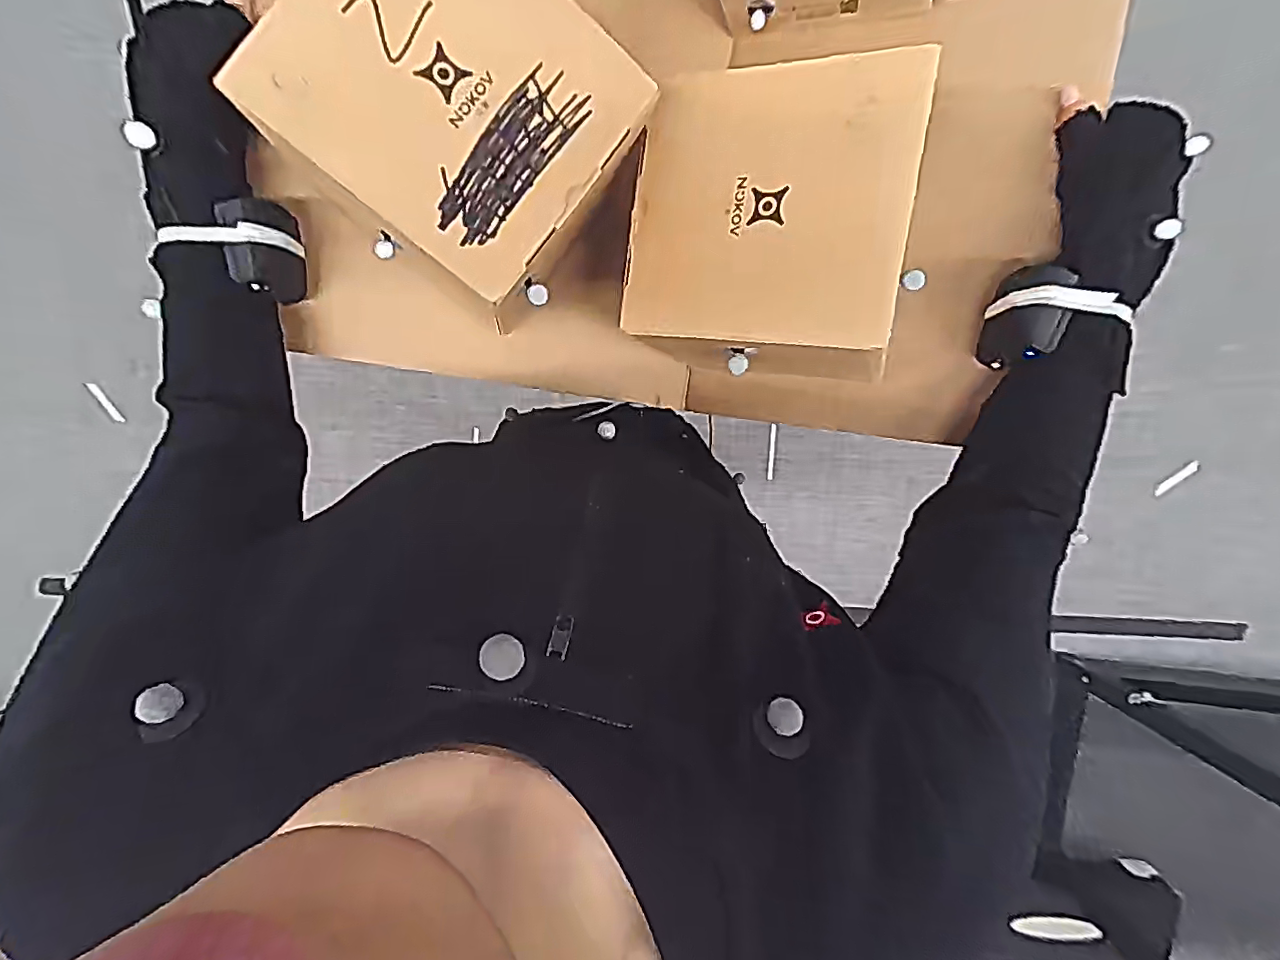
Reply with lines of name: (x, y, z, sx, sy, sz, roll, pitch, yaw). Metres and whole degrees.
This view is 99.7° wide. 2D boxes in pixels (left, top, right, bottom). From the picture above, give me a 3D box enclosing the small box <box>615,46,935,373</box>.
small box: (0.103, -0.178, 0.409, 0.179, 0.176, 0.168, 11, 98, 23)
